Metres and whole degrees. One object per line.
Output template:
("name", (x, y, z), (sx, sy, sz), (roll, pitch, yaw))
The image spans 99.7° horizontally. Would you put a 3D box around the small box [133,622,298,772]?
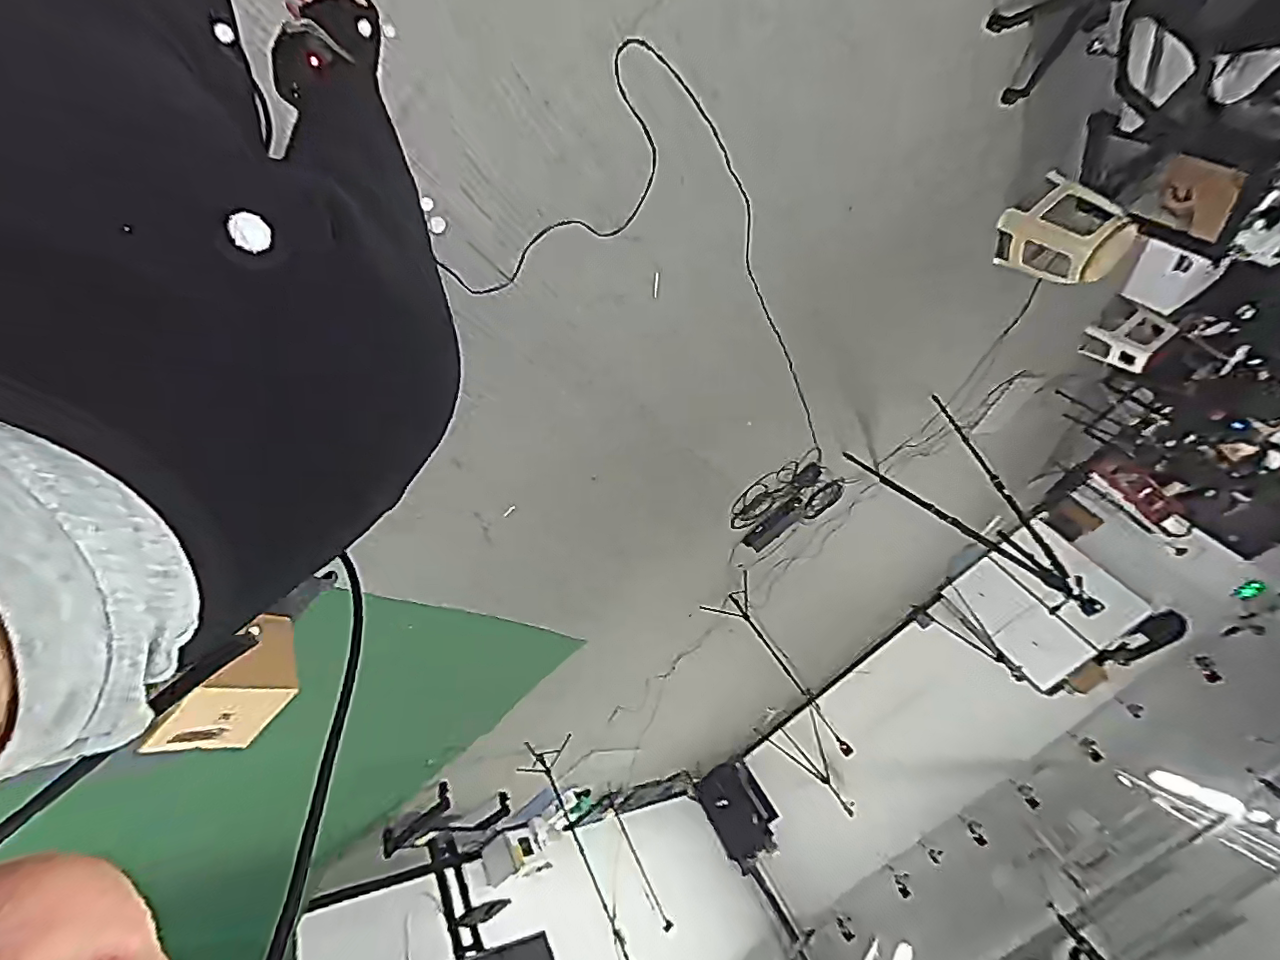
("small box", (-0.745, 0.380, 0.957), (0.179, 0.176, 0.168), (-46, 144, 9))
